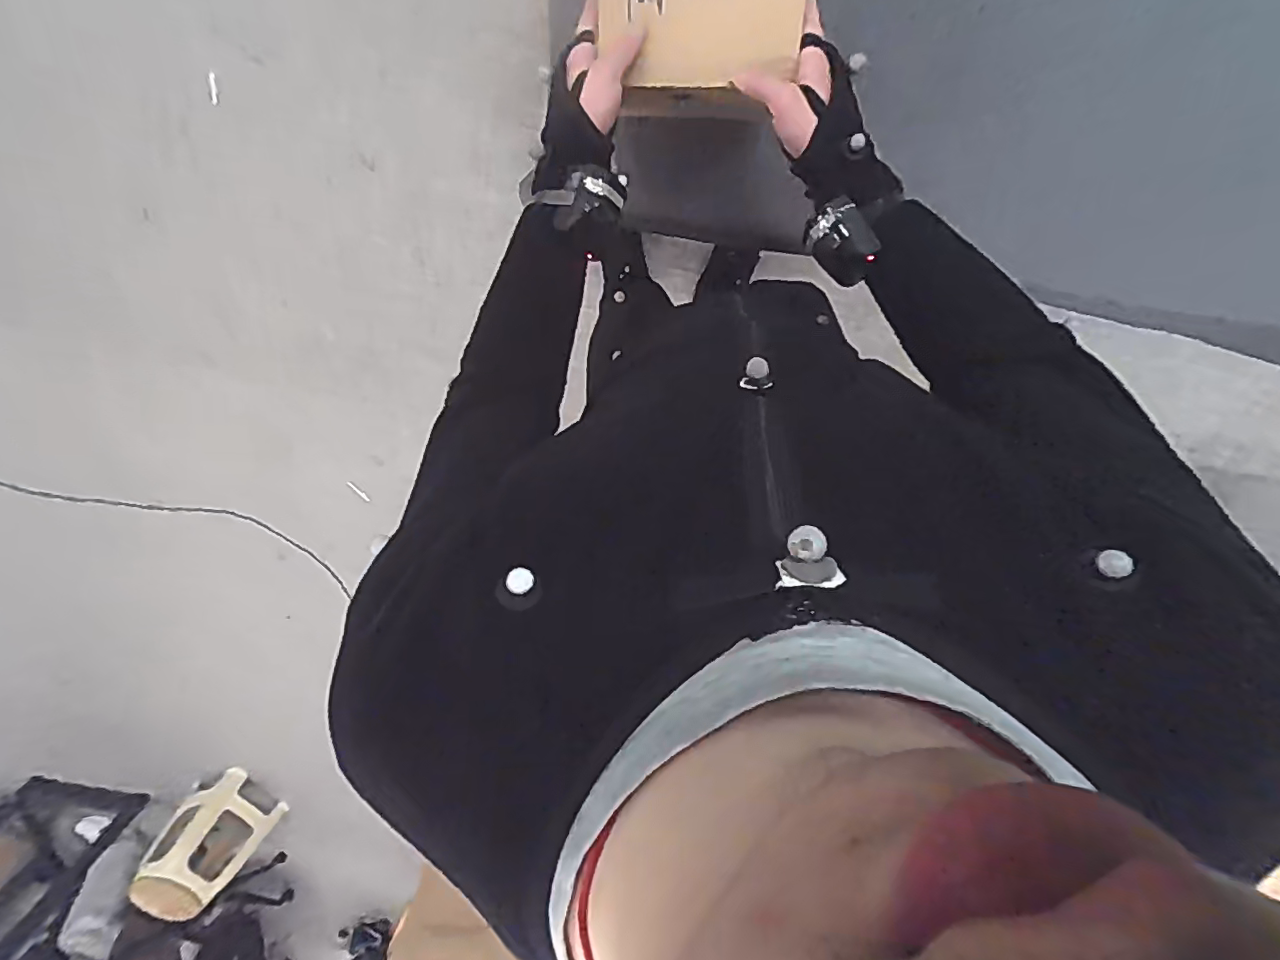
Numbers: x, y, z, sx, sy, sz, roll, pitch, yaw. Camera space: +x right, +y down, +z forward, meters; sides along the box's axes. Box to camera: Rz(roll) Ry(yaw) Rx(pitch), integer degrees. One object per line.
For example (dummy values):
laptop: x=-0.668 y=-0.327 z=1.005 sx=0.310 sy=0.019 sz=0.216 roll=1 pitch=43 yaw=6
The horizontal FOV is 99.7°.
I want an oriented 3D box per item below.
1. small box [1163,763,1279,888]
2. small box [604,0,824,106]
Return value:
small box: x=1.387 y=0.797 z=1.253 sx=0.168 sy=0.176 sz=0.179 roll=11 pitch=117 yaw=-3
small box: x=0.062 y=-0.447 z=0.482 sx=0.179 sy=0.176 sz=0.168 roll=1 pitch=117 yaw=0
